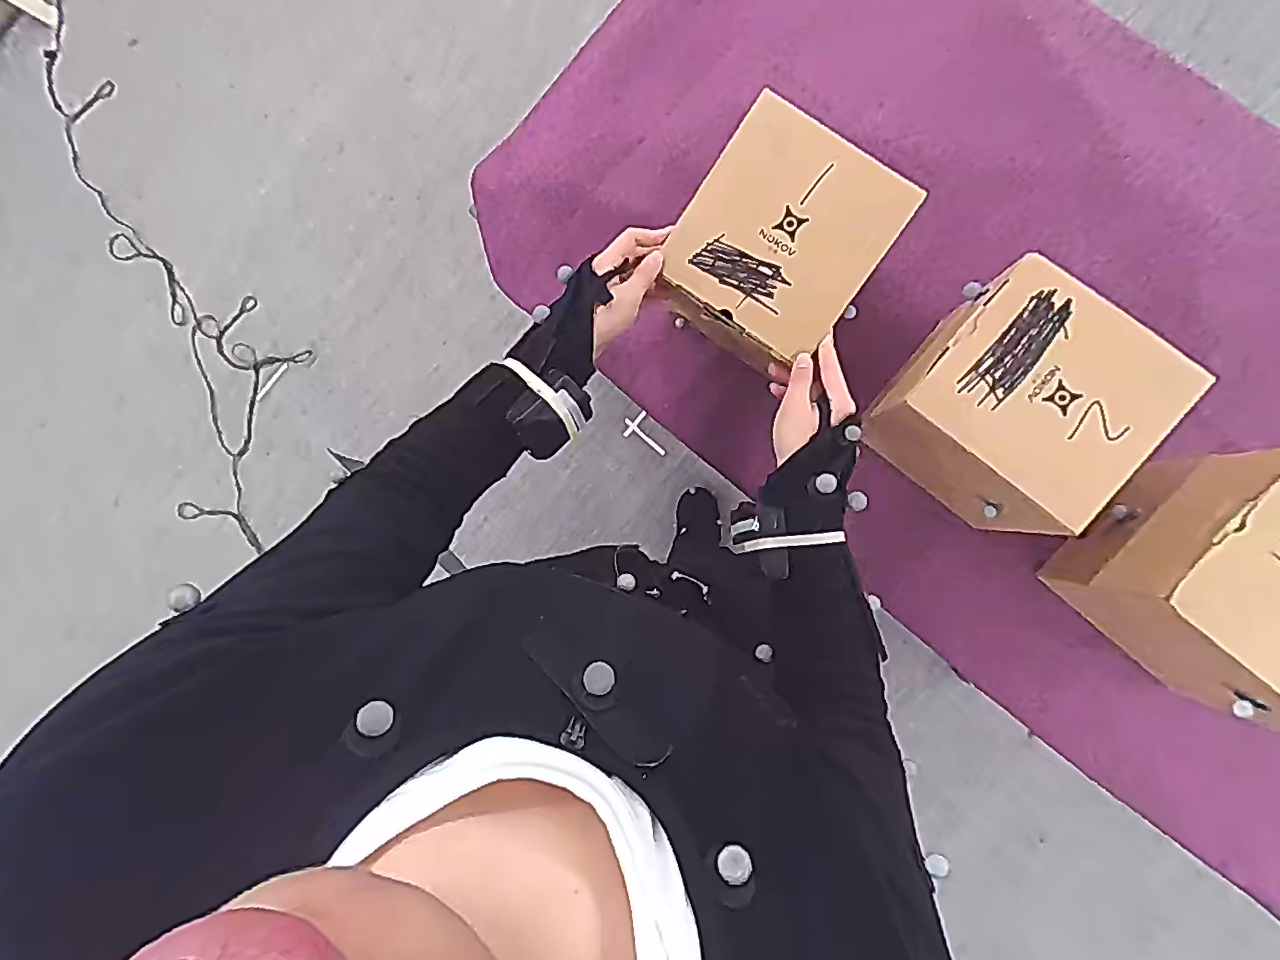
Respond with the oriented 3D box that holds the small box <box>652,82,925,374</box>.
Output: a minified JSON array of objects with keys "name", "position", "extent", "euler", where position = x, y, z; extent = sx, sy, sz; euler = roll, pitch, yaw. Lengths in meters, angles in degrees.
[{"name":"small box","position":[0.133,-0.224,0.539],"extent":[0.168,0.176,0.179],"euler":[36,97,3]}]

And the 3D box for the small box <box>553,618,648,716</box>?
[{"name":"small box","position":[-0.091,0.430,1.245],"extent":[0.179,0.176,0.168],"euler":[19,66,3]}]
